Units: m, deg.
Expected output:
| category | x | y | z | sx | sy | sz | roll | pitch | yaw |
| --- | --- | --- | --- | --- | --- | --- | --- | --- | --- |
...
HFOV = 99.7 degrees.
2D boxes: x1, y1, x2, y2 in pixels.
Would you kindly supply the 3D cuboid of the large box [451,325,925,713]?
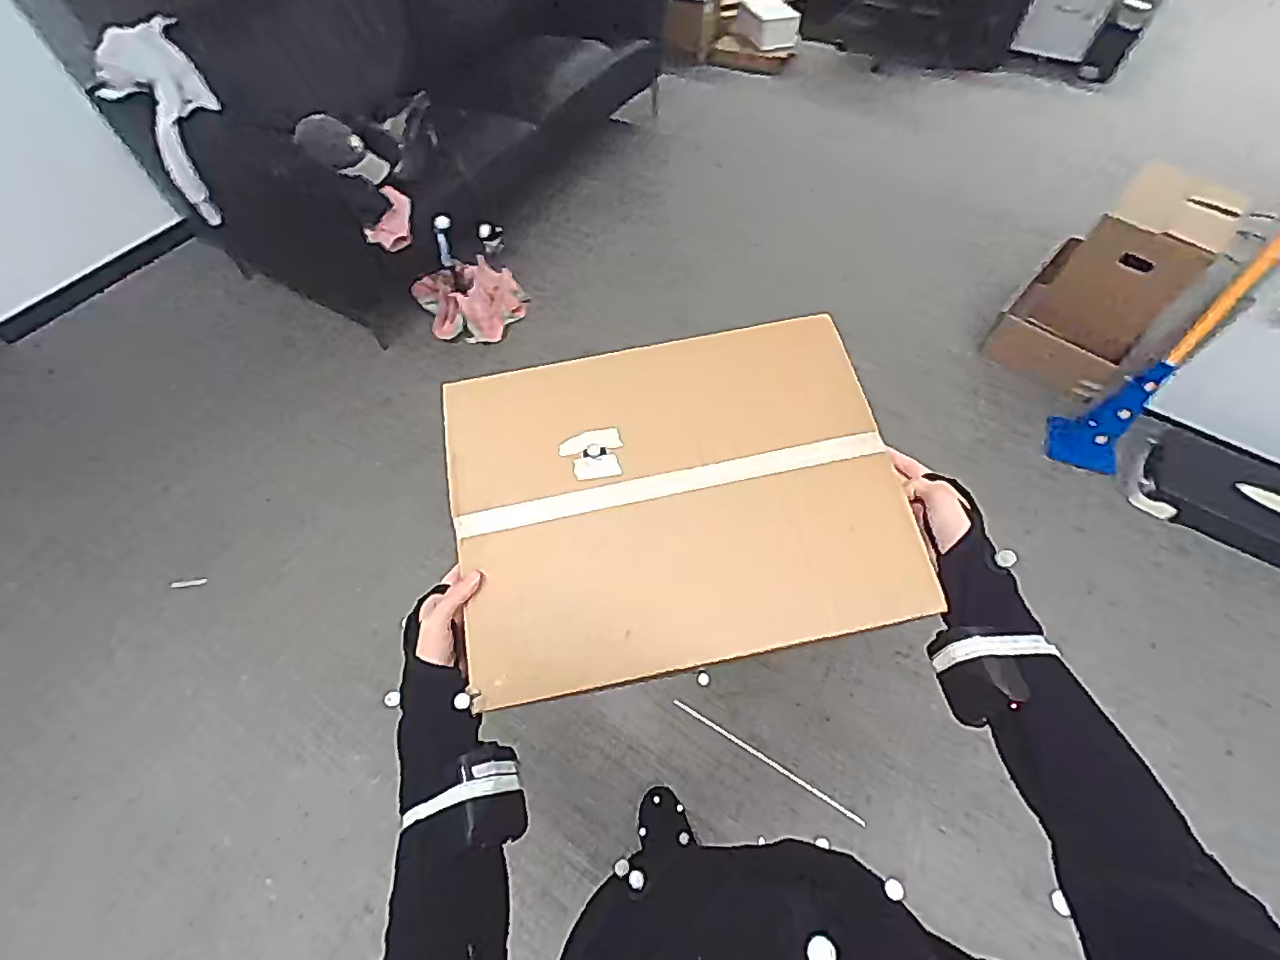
| category | x | y | z | sx | sy | sz | roll | pitch | yaw |
| --- | --- | --- | --- | --- | --- | --- | --- | --- | --- |
| large box | 0.036 | 0.065 | 0.658 | 0.408 | 0.320 | 0.320 | -12 | 69 | -2 |
